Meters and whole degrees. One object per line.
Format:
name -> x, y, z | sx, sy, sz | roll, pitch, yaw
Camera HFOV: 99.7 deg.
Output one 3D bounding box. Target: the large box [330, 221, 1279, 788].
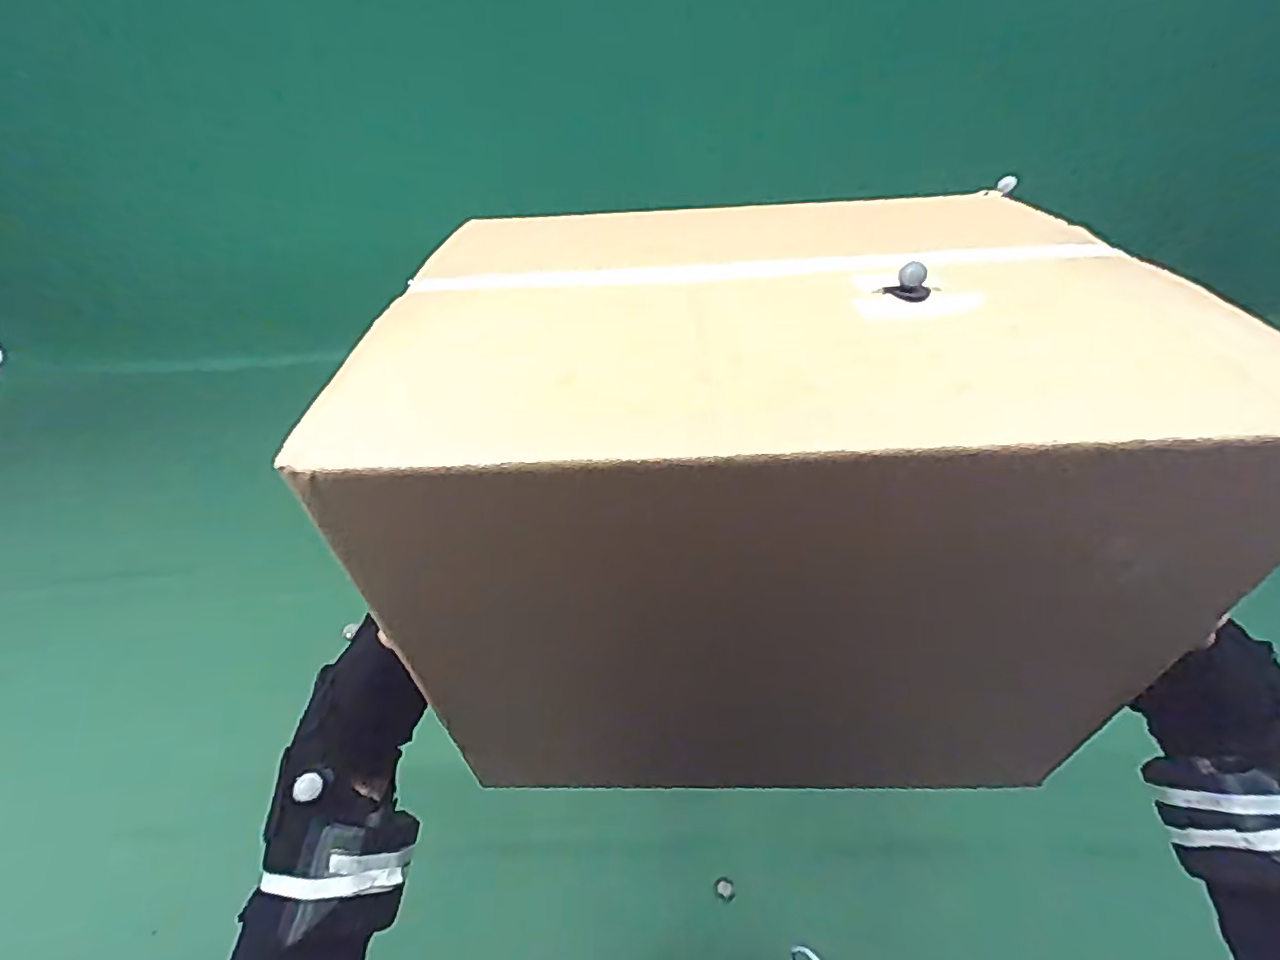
large box -> 0.080, 0.011, 0.414 | 0.408, 0.320, 0.320 | -1, 40, 3
